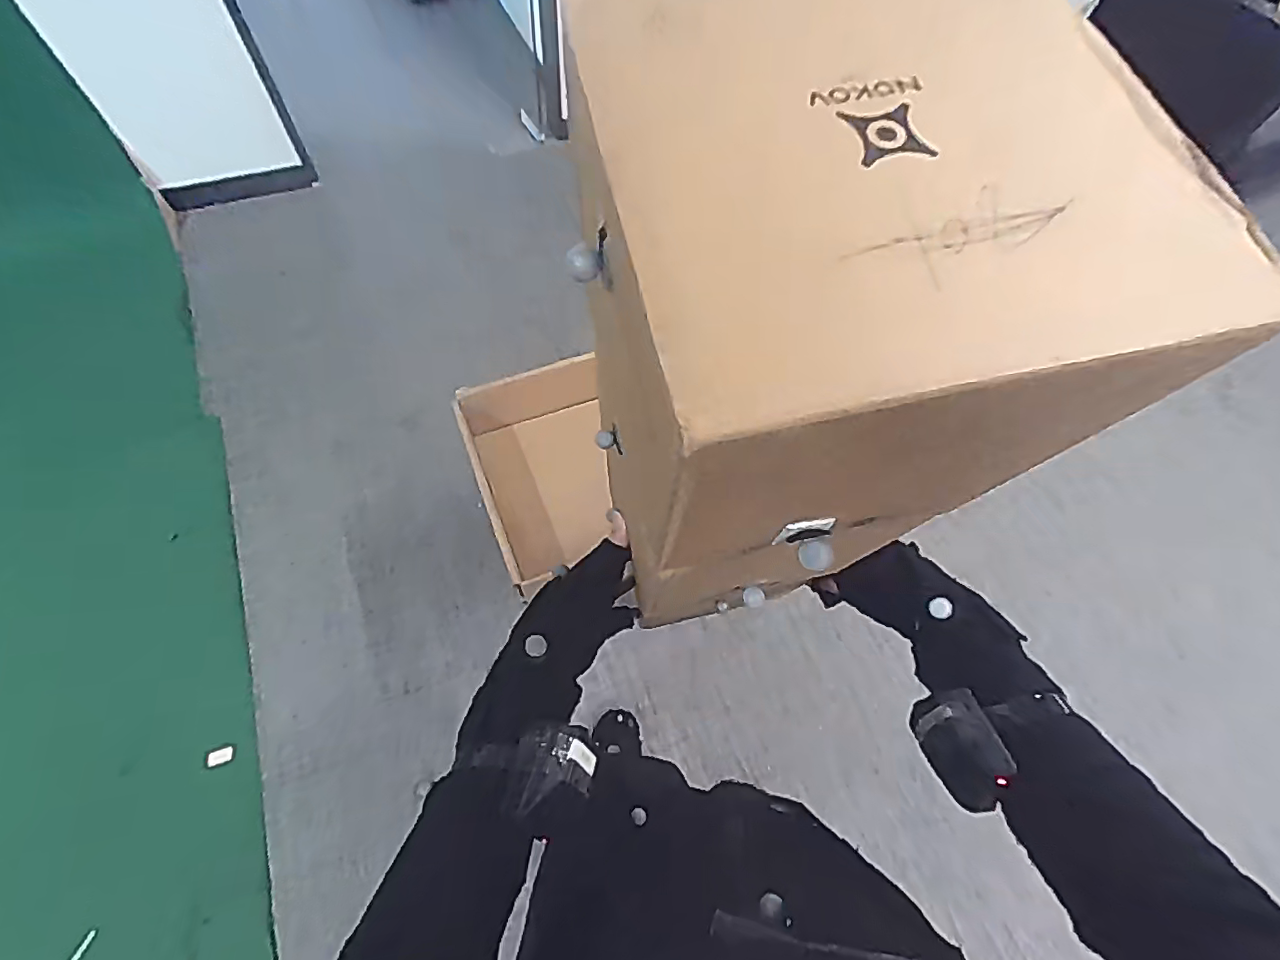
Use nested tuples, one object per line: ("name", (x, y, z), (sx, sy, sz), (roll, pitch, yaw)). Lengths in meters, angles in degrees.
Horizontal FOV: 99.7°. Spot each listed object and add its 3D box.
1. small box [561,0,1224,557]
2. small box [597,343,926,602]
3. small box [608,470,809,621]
("small box", (0.066, -0.079, 0.248), (0.168, 0.176, 0.179), (-12, 71, -4))
("small box", (0.062, -0.022, 0.399), (0.168, 0.176, 0.179), (-11, 70, -6))
("small box", (0.060, 0.033, 0.554), (0.168, 0.176, 0.179), (-12, 70, -5))
